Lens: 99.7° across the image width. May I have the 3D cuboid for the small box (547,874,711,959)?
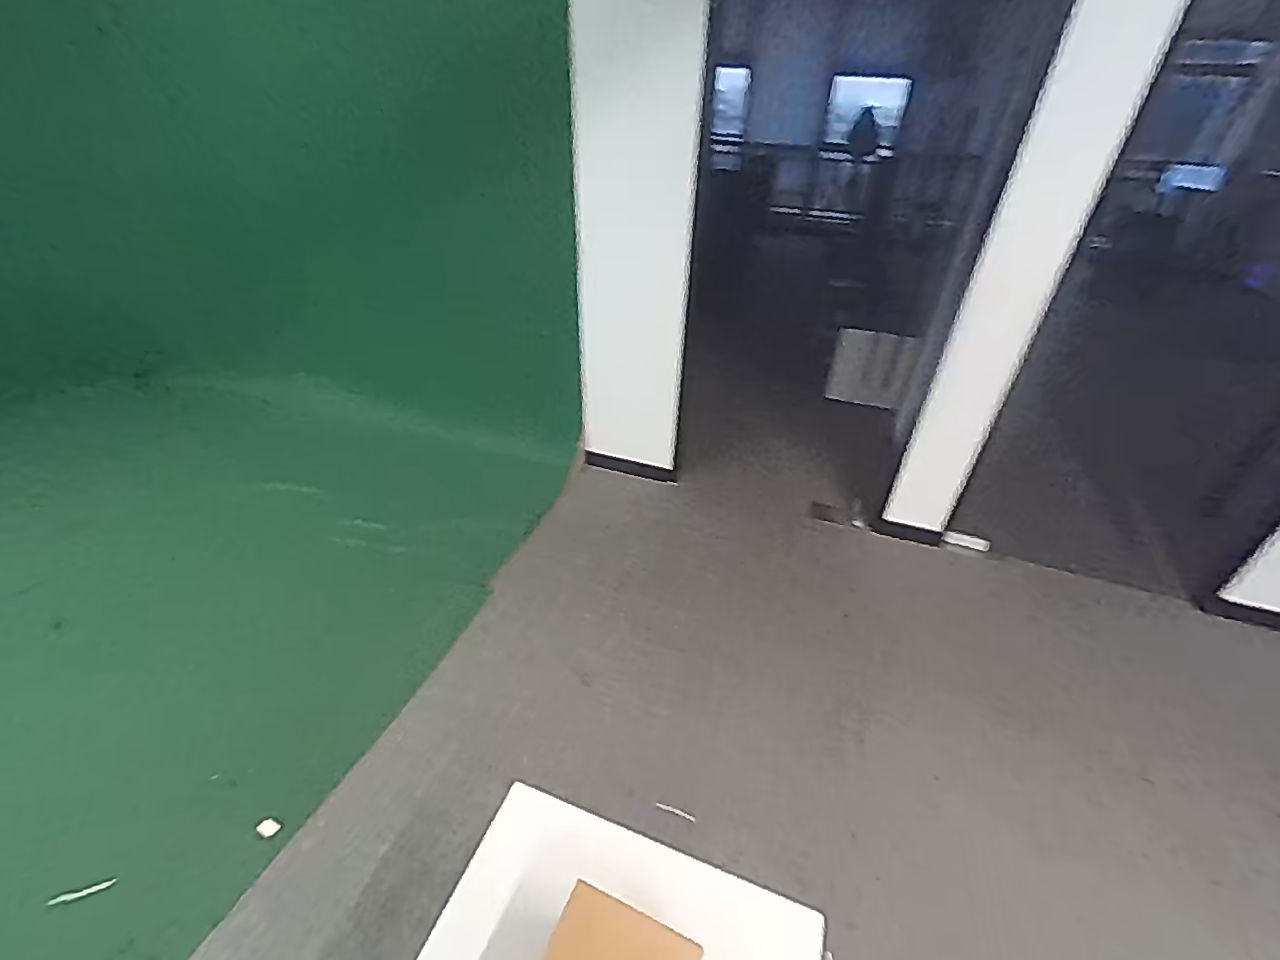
[{"bbox_3d":[-0.031,0.611,0.616,0.168,0.176,0.179,15,37,18],"label":"small box"}]
